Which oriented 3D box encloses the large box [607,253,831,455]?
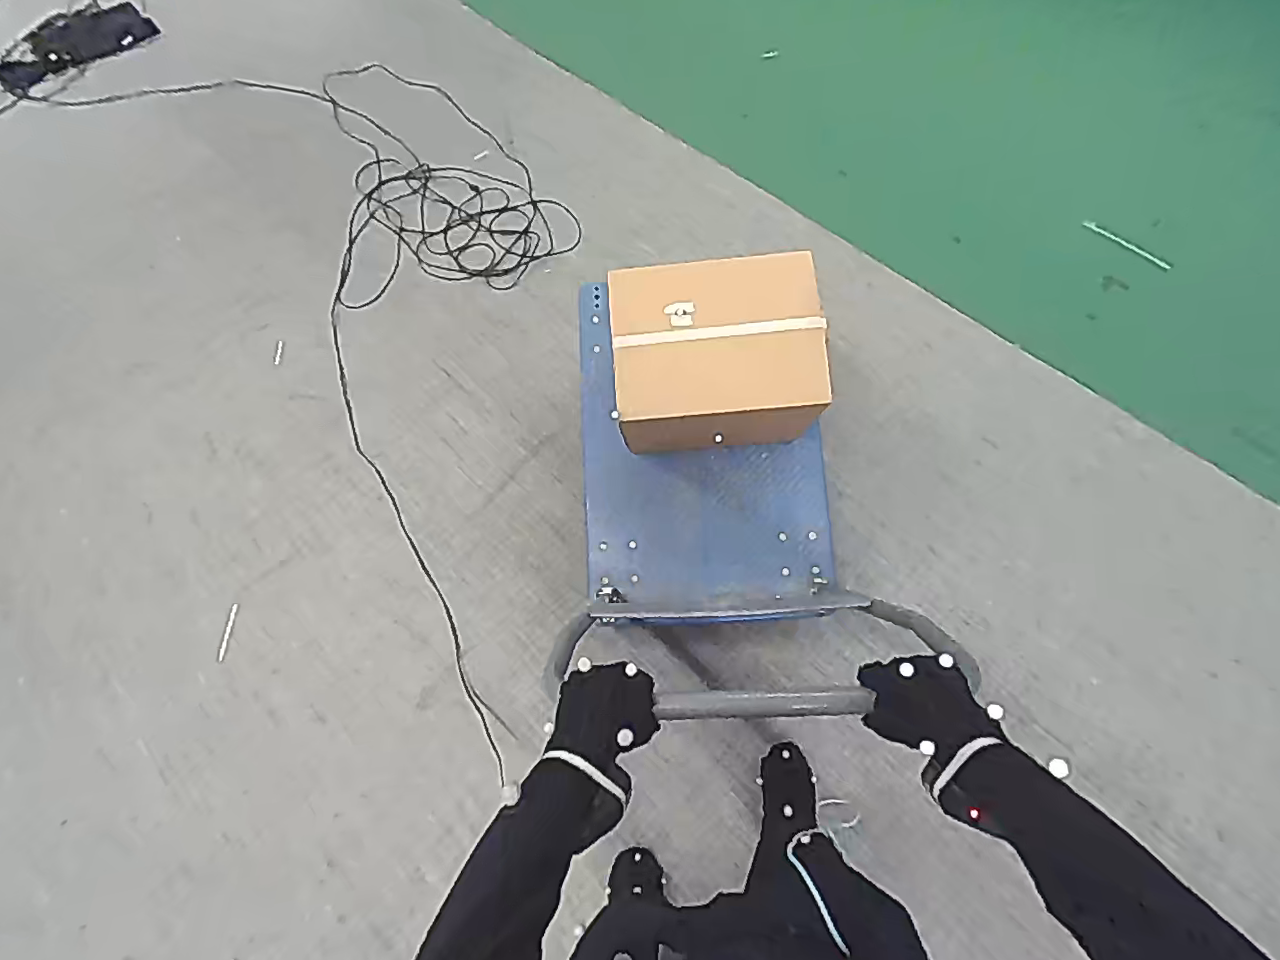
[{"bbox_3d":[0.160,-0.248,1.184,0.408,0.320,0.320,-6,81,4],"label":"large box"}]
